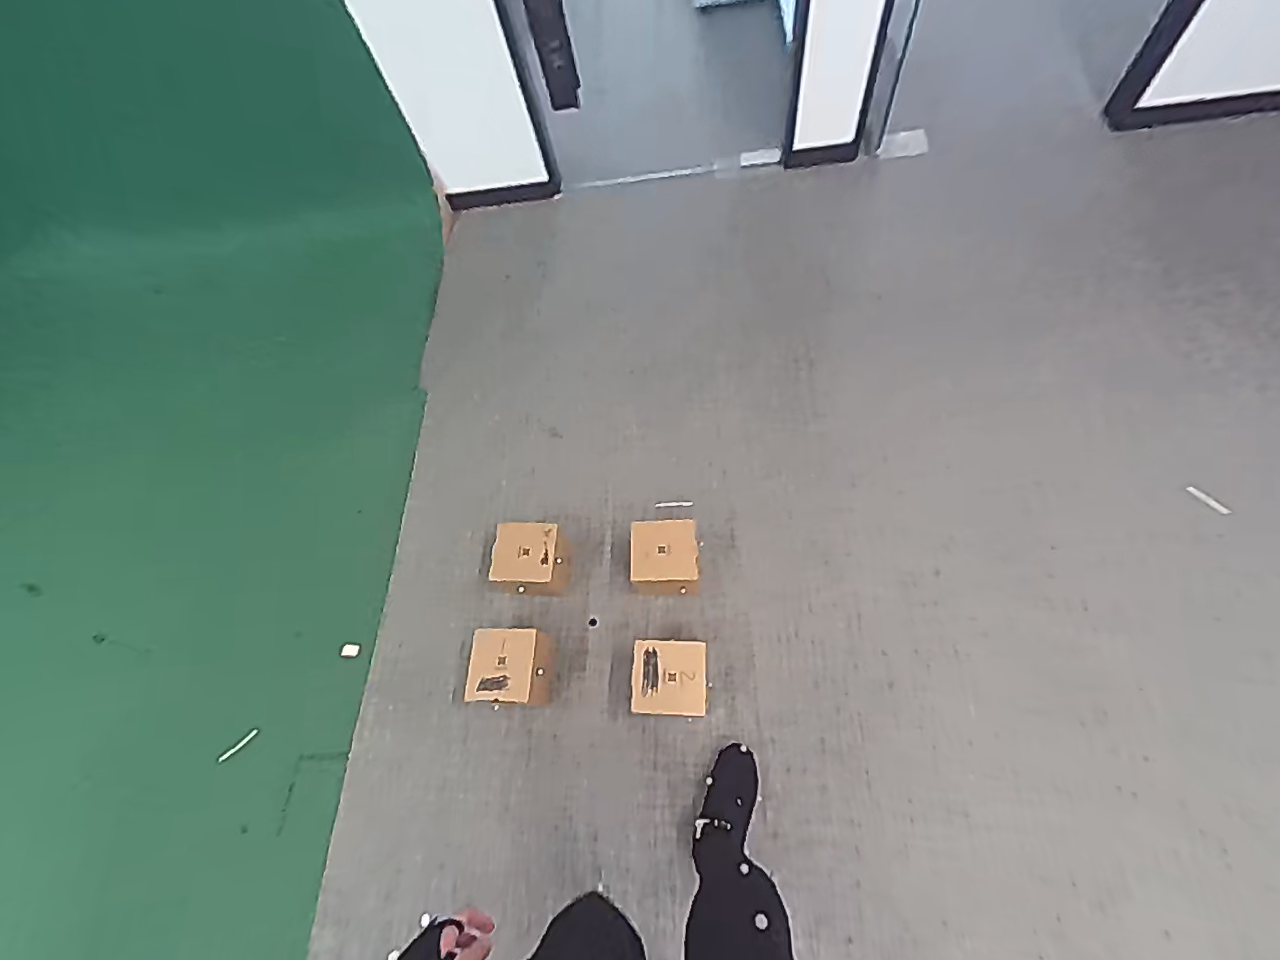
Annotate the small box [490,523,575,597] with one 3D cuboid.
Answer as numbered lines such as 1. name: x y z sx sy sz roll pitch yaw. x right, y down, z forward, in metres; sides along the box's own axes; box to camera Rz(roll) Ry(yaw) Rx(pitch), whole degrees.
1. small box: -0.297 0.228 1.522 0.179 0.176 0.168 0 65 9

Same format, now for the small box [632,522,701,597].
1. small box: 0.077 0.219 1.470 0.179 0.176 0.168 -2 64 8

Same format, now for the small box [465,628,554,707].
1. small box: -0.329 0.490 1.403 0.168 0.176 0.179 -1 64 8
